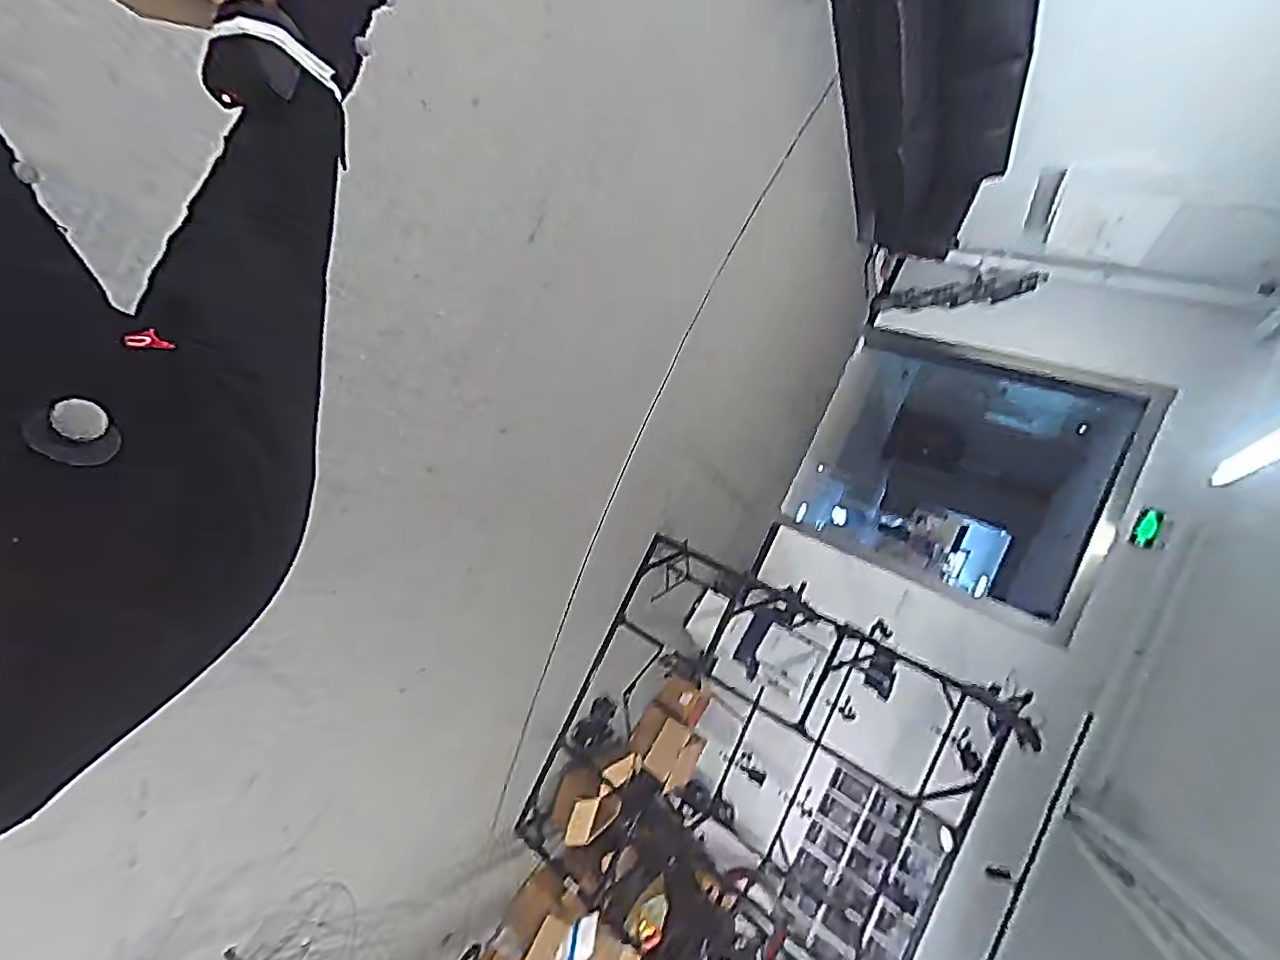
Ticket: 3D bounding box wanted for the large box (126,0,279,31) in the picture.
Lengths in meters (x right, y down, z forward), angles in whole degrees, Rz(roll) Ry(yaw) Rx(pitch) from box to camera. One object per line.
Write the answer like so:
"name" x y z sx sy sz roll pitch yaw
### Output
"large box" -0.440 -0.587 0.315 0.320 0.320 0.408 -61 153 7
